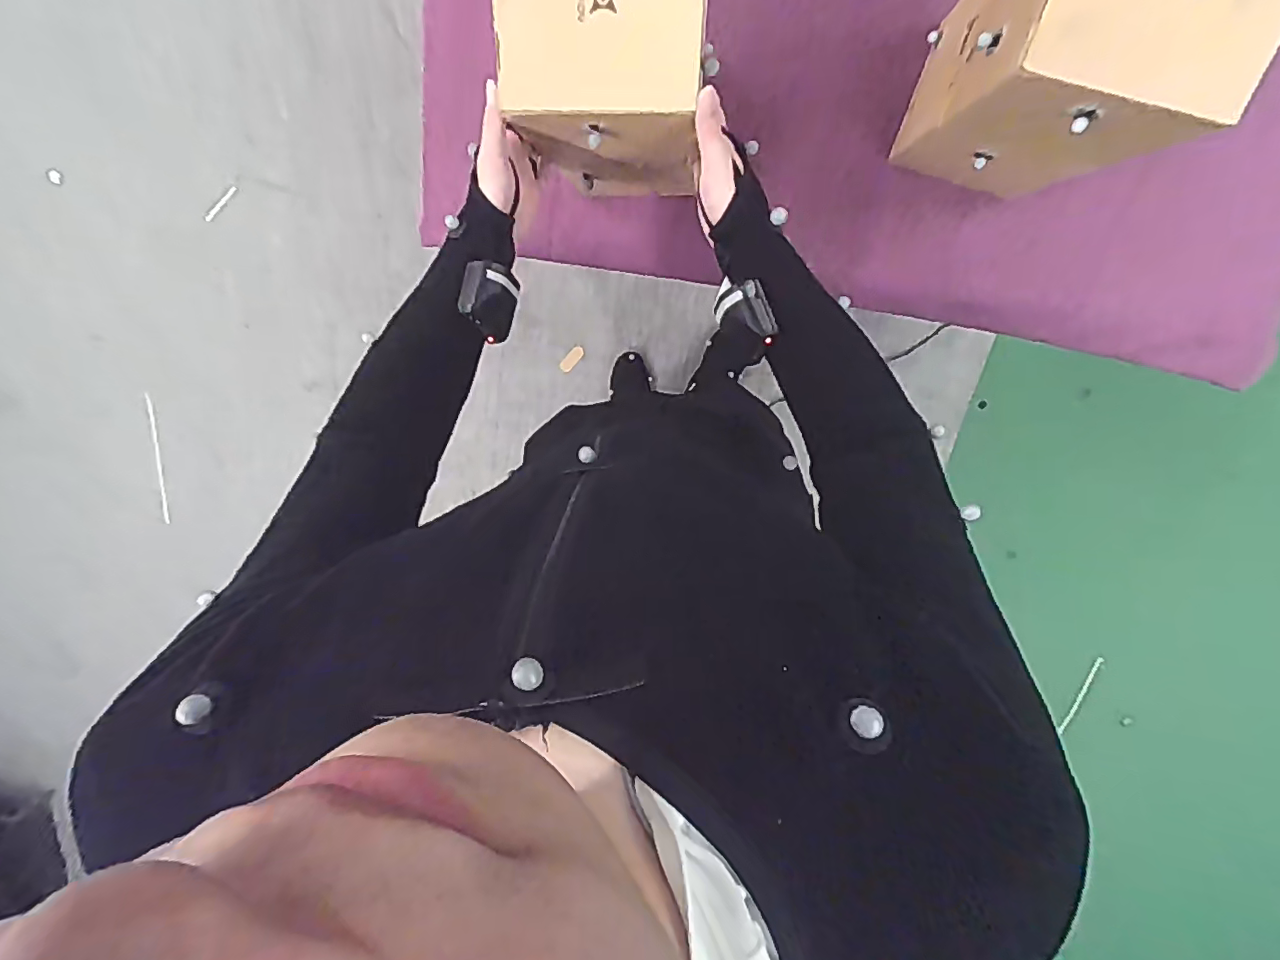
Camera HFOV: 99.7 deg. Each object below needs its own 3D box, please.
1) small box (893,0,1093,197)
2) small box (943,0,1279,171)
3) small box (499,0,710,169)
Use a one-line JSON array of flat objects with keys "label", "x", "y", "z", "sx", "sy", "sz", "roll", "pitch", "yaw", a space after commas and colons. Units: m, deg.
[{"label": "small box", "x": 0.428, "y": -0.448, "z": 0.626, "sx": 0.179, "sy": 0.176, "sz": 0.168, "roll": 17, "pitch": 110, "yaw": 0}, {"label": "small box", "x": 0.407, "y": -0.394, "z": 0.474, "sx": 0.179, "sy": 0.176, "sz": 0.168, "roll": 17, "pitch": 110, "yaw": 1}, {"label": "small box", "x": -0.024, "y": -0.412, "z": 0.520, "sx": 0.179, "sy": 0.176, "sz": 0.168, "roll": 4, "pitch": 108, "yaw": 6}]
